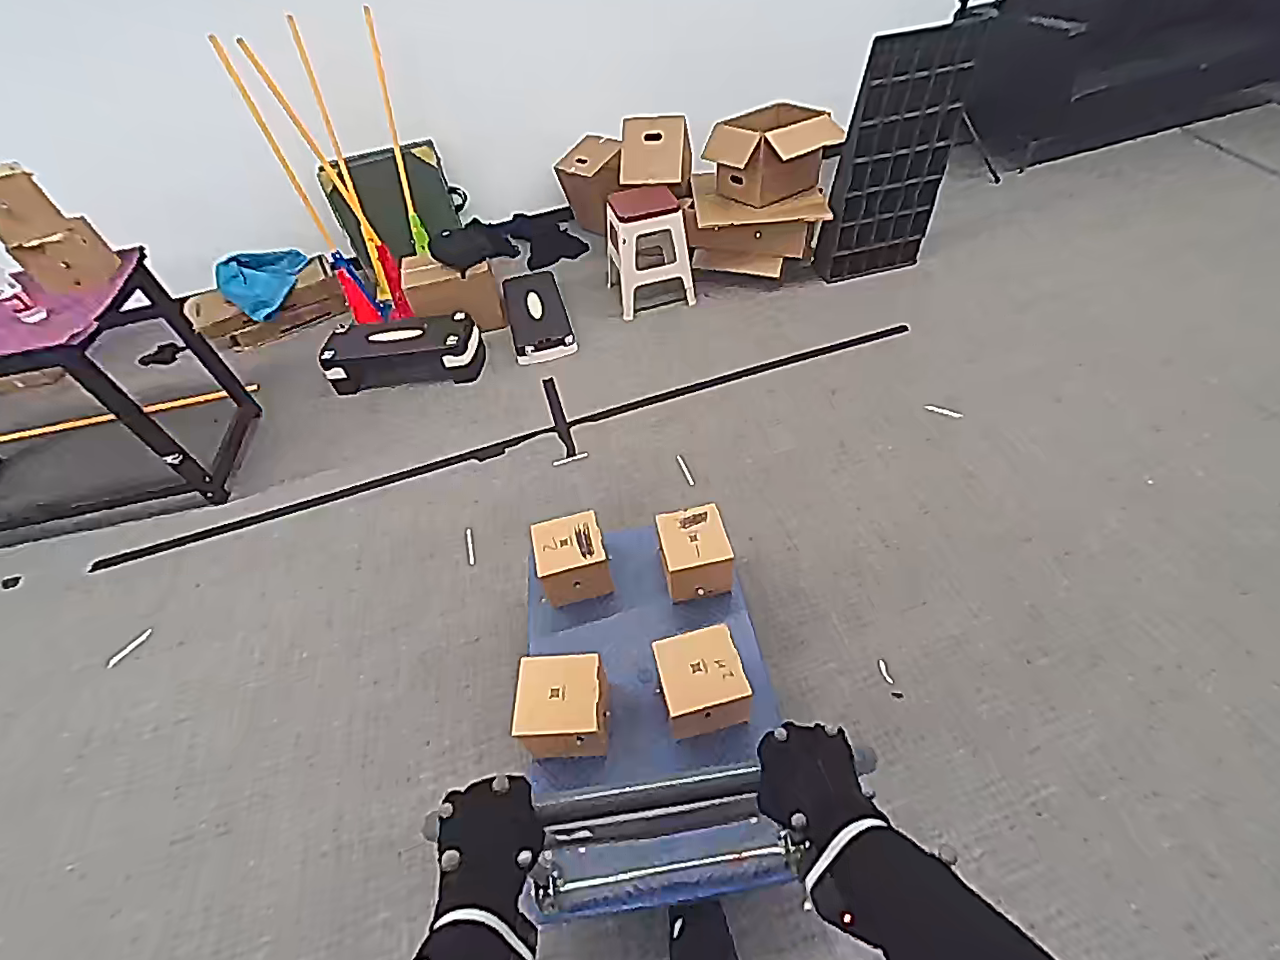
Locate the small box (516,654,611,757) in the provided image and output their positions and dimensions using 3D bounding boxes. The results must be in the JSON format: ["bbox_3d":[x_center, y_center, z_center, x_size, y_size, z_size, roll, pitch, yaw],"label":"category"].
[{"bbox_3d":[-0.162,0.505,1.204,0.179,0.176,0.168,-4,48,2],"label":"small box"}]

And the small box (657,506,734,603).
[{"bbox_3d":[0.143,0.198,1.433,0.168,0.176,0.179,-12,50,-3],"label":"small box"}]

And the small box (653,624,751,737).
[{"bbox_3d":[0.138,0.453,1.211,0.179,0.176,0.168,-14,49,-5],"label":"small box"}]
